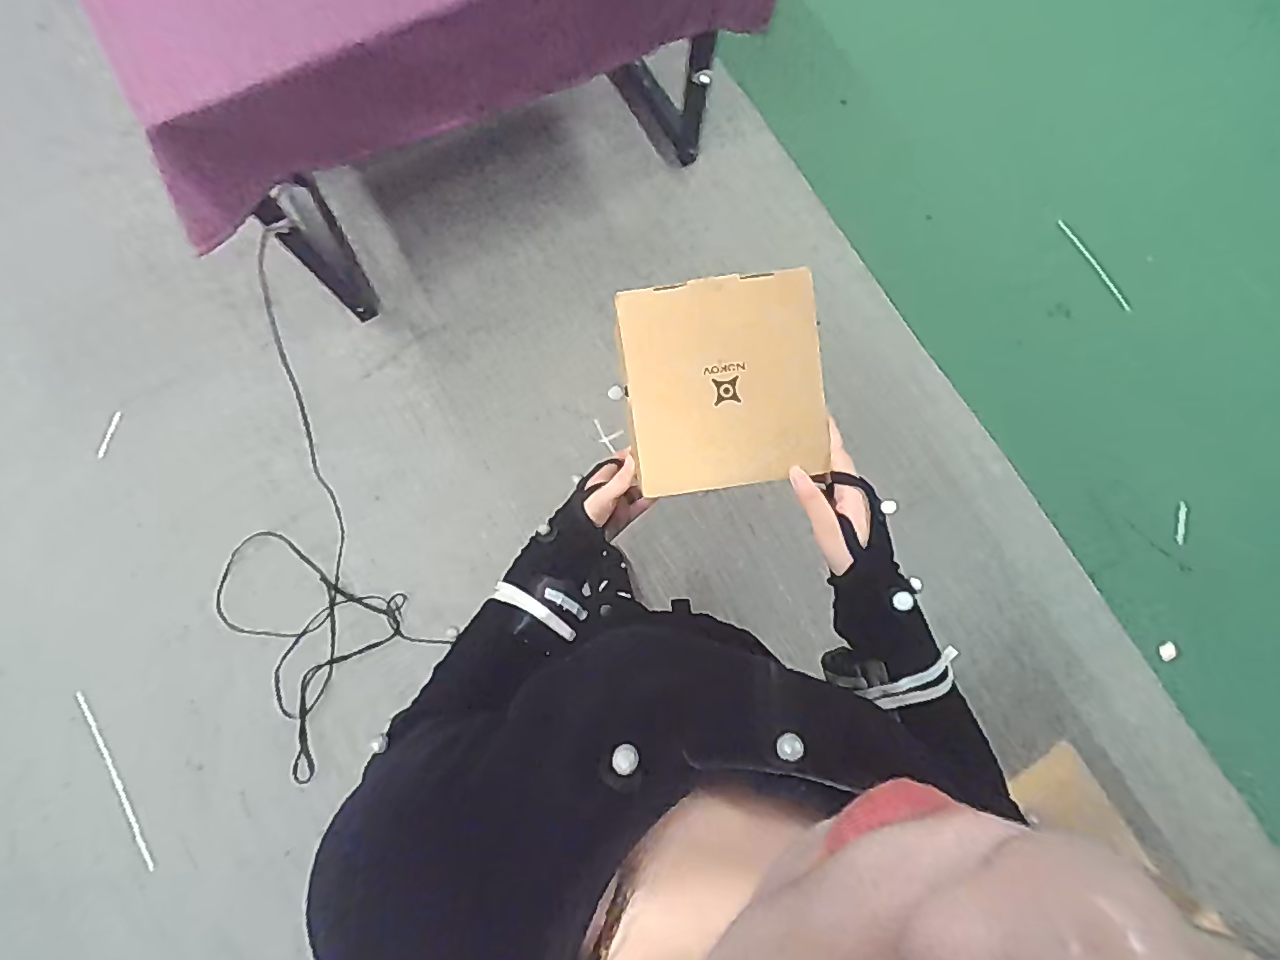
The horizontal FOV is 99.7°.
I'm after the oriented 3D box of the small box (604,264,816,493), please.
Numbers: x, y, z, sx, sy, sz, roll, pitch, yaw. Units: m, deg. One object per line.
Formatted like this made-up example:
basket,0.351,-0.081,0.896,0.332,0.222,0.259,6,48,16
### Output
small box,0.060,-0.092,0.535,0.168,0.176,0.179,-8,95,-1
